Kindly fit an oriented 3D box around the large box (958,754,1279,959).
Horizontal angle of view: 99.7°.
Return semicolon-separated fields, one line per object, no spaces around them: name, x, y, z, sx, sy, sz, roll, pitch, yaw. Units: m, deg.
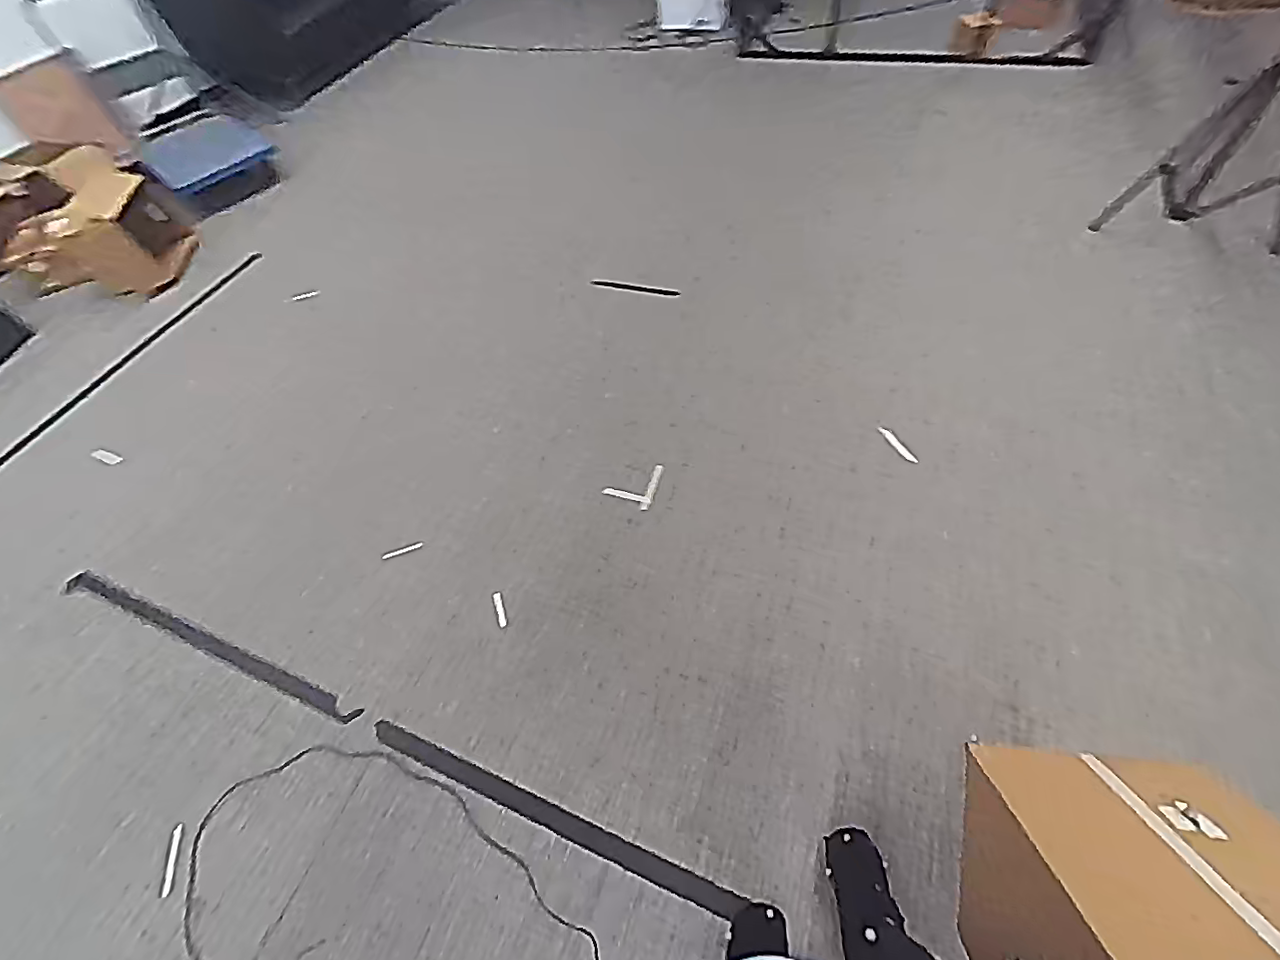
large box;0.613;0.588;0.625;0.320;0.408;0.320;2;94;11
